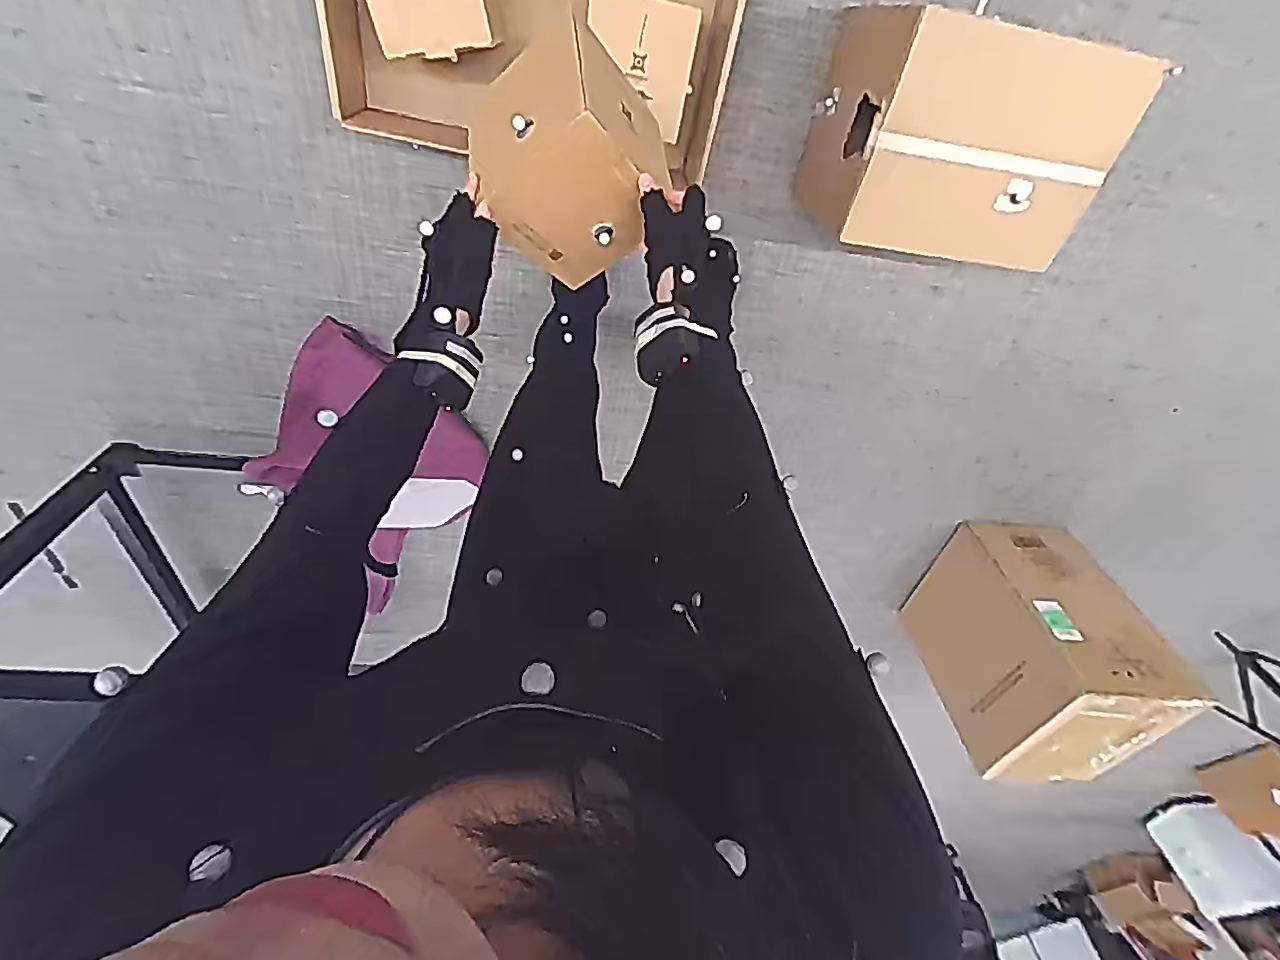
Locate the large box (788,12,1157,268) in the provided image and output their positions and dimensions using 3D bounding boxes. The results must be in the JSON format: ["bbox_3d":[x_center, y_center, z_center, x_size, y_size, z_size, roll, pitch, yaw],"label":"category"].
[{"bbox_3d":[0.538,-0.608,0.977,0.408,0.320,0.320,4,130,-9],"label":"large box"}]
